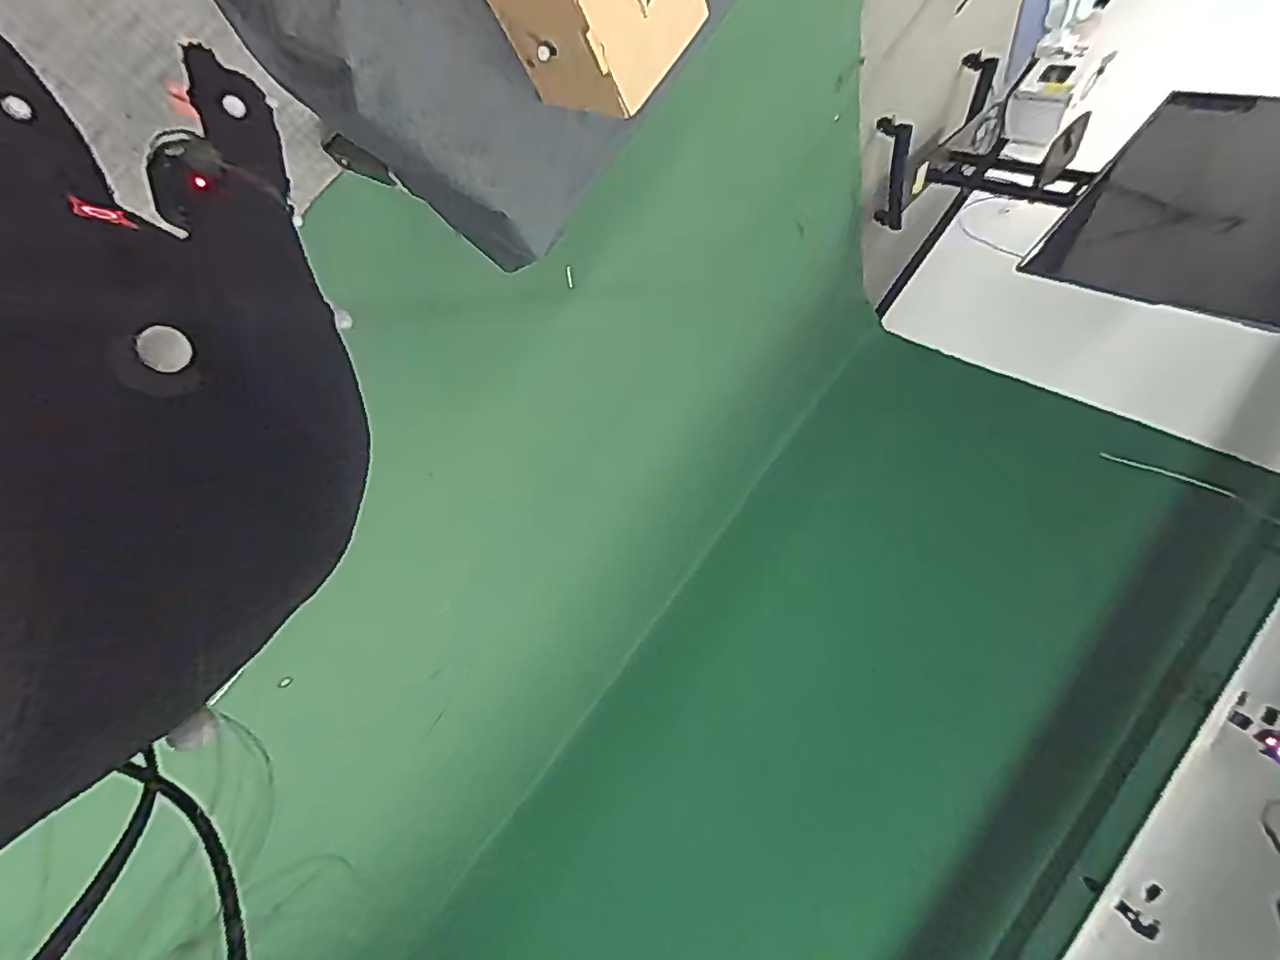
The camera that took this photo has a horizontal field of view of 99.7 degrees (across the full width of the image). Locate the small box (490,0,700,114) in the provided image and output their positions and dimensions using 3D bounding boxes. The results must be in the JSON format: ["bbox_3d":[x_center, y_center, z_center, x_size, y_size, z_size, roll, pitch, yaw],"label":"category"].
[{"bbox_3d":[-0.062,-0.585,0.648,0.179,0.176,0.168,-54,149,-4],"label":"small box"}]
